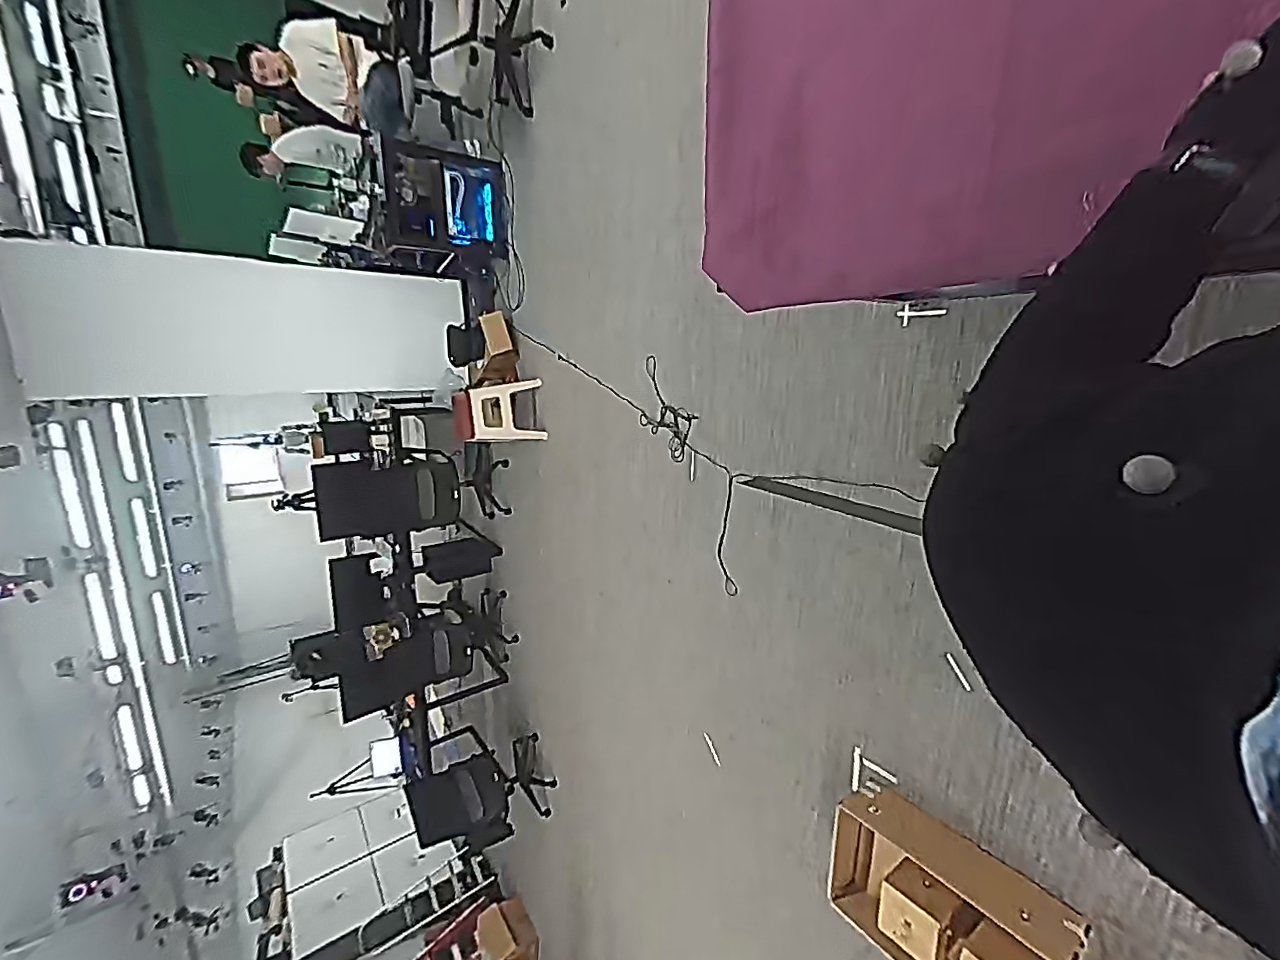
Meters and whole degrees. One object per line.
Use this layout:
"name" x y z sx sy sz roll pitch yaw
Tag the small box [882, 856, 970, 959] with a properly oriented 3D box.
"small box" 0.838 1.258 1.581 0.168 0.176 0.179 16 110 52
